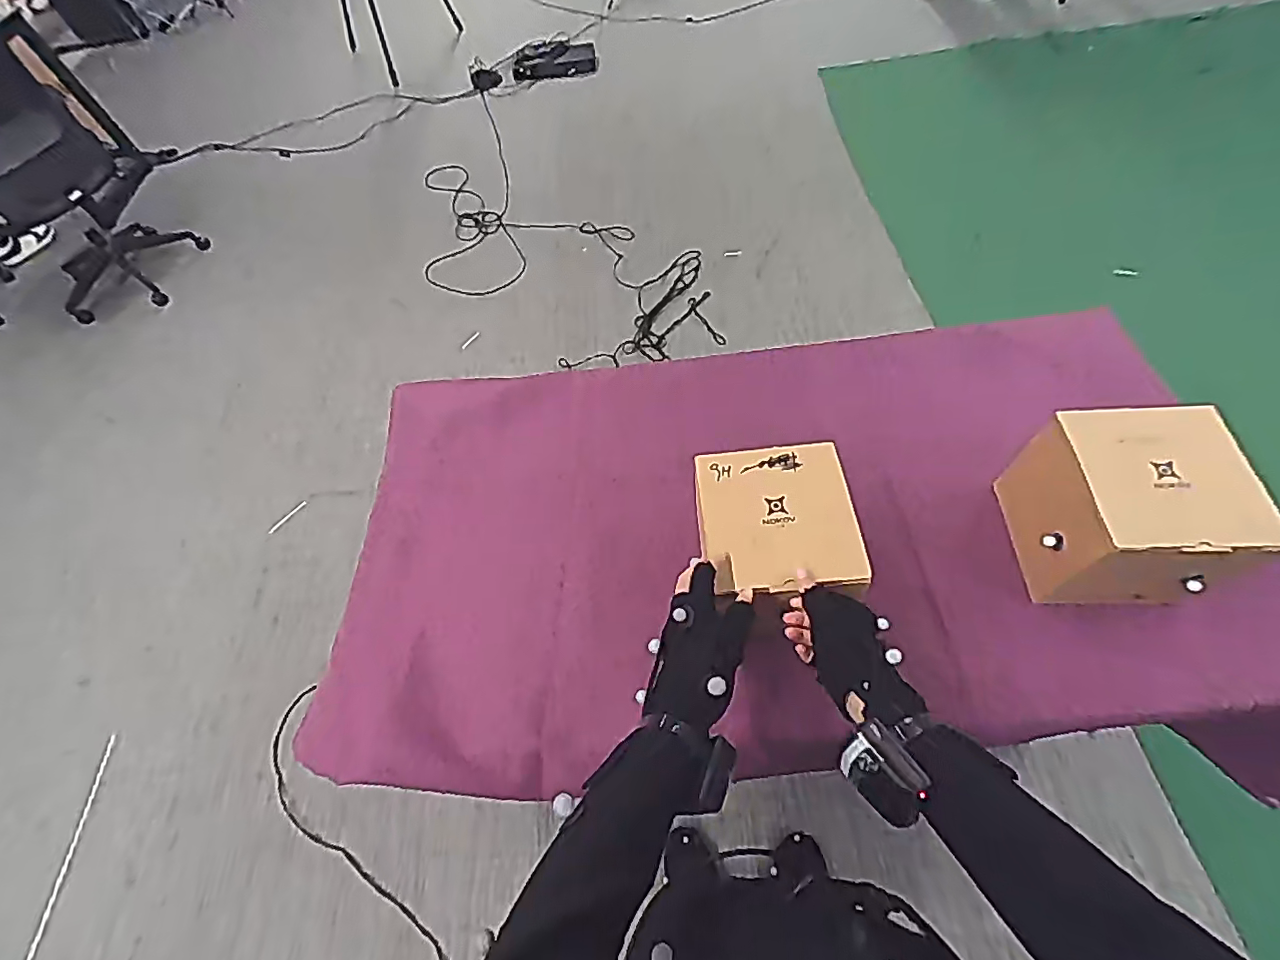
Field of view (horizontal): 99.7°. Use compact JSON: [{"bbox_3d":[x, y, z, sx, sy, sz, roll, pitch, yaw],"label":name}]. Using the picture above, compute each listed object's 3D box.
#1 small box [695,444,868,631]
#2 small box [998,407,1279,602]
[{"bbox_3d":[0.160,0.080,0.665,0.168,0.176,0.179,-6,59,4],"label":"small box"},{"bbox_3d":[0.562,0.036,0.635,0.168,0.176,0.179,-1,59,7],"label":"small box"}]
